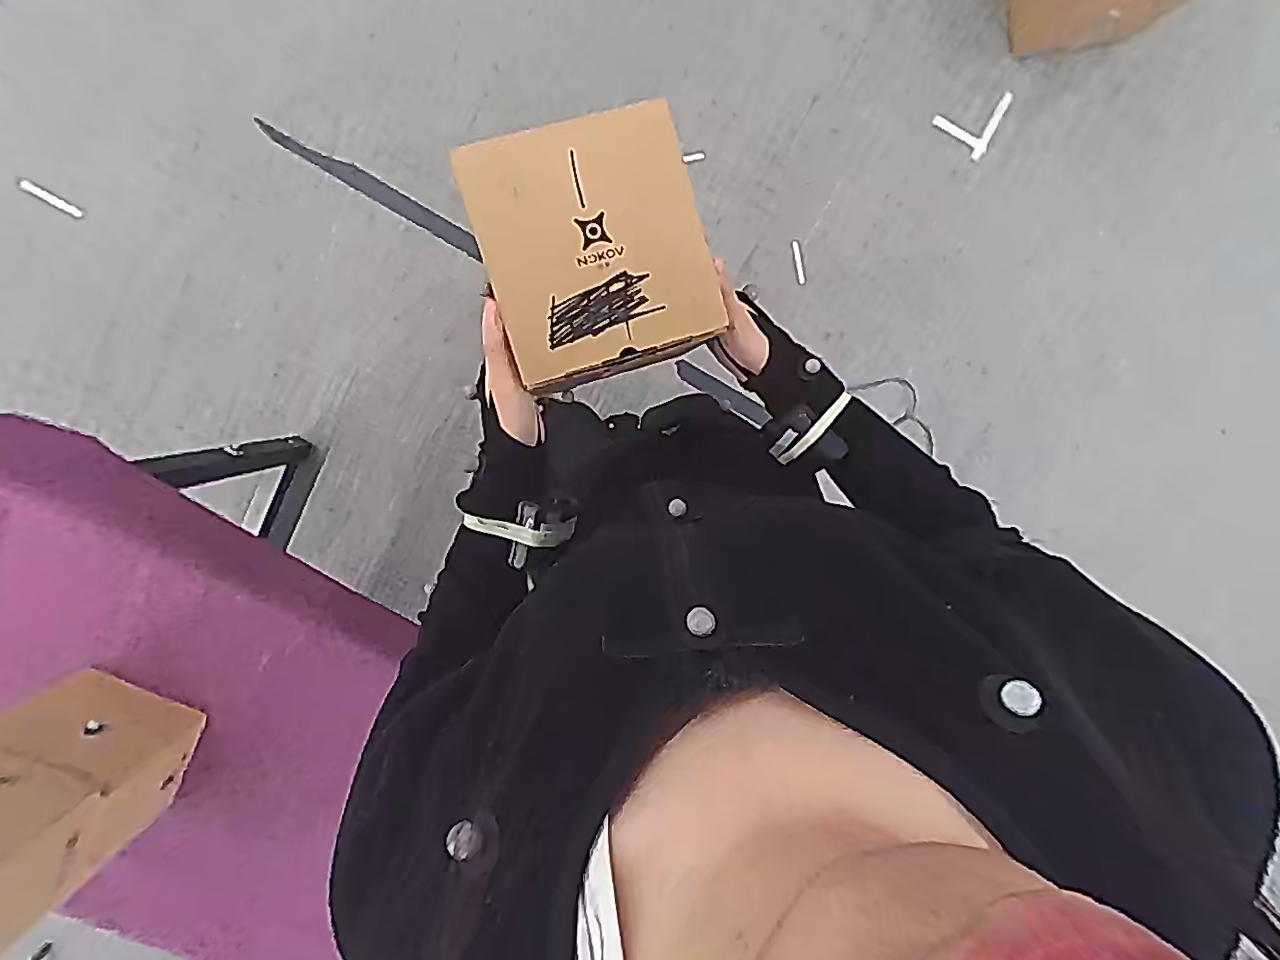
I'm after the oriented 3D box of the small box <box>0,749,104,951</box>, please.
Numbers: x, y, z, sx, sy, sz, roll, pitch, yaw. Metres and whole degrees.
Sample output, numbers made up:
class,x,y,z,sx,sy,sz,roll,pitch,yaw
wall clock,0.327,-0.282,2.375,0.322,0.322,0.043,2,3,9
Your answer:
class,x,y,z,sx,sy,sz,roll,pitch,yaw
small box,-0.724,0.402,0.548,0.179,0.176,0.168,23,99,-5

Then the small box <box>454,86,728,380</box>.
class,x,y,z,sx,sy,sz,roll,pitch,yaw
small box,-0.041,-0.191,0.474,0.168,0.176,0.179,-17,98,-6
